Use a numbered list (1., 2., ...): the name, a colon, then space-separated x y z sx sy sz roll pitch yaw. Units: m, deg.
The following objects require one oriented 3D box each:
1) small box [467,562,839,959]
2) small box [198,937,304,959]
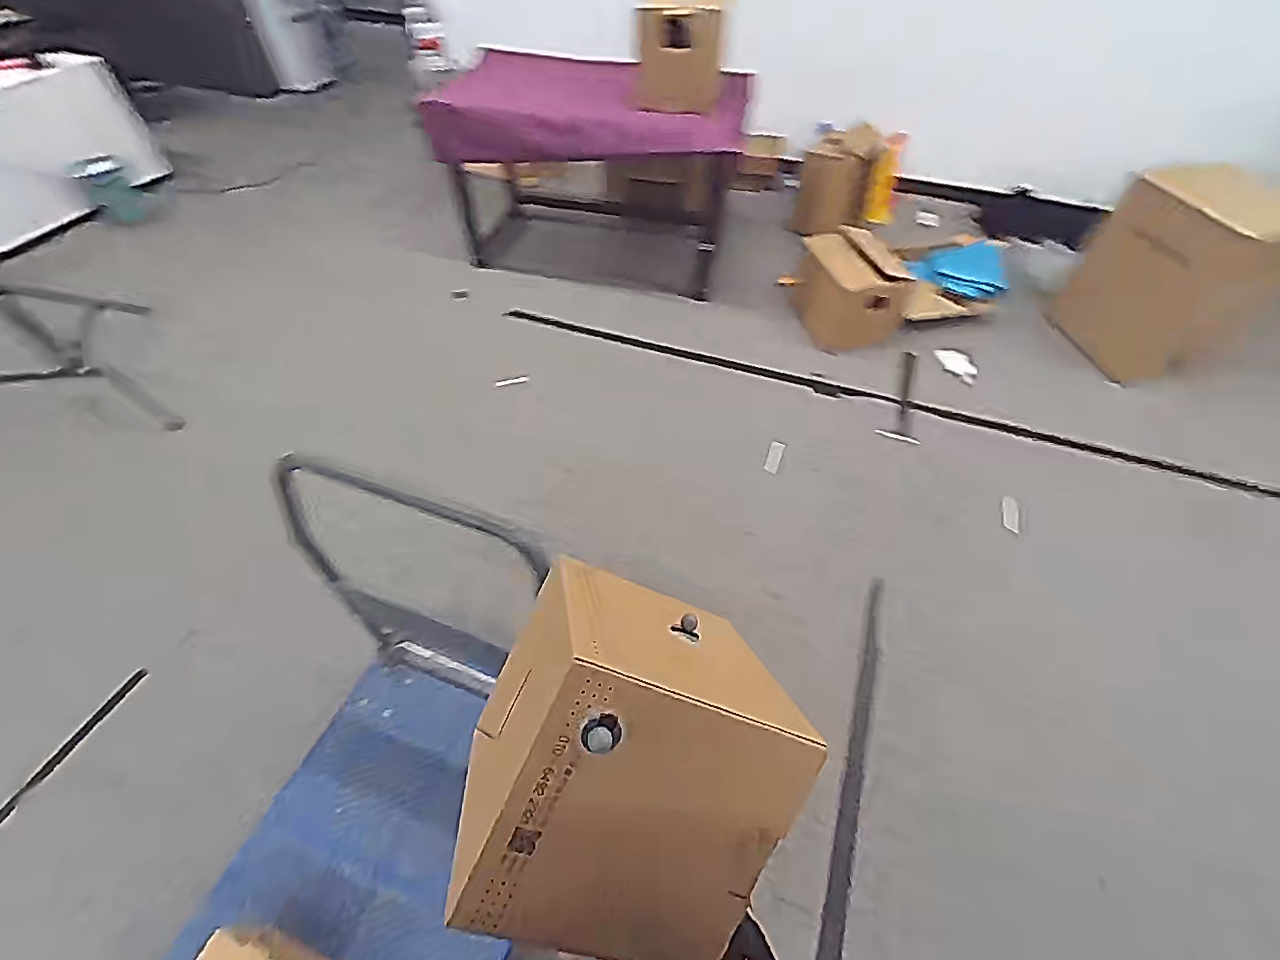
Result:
1. small box: -0.006 0.182 0.379 0.176 0.179 0.168 27 94 -14
2. small box: -0.646 0.875 0.871 0.168 0.176 0.179 16 53 13
